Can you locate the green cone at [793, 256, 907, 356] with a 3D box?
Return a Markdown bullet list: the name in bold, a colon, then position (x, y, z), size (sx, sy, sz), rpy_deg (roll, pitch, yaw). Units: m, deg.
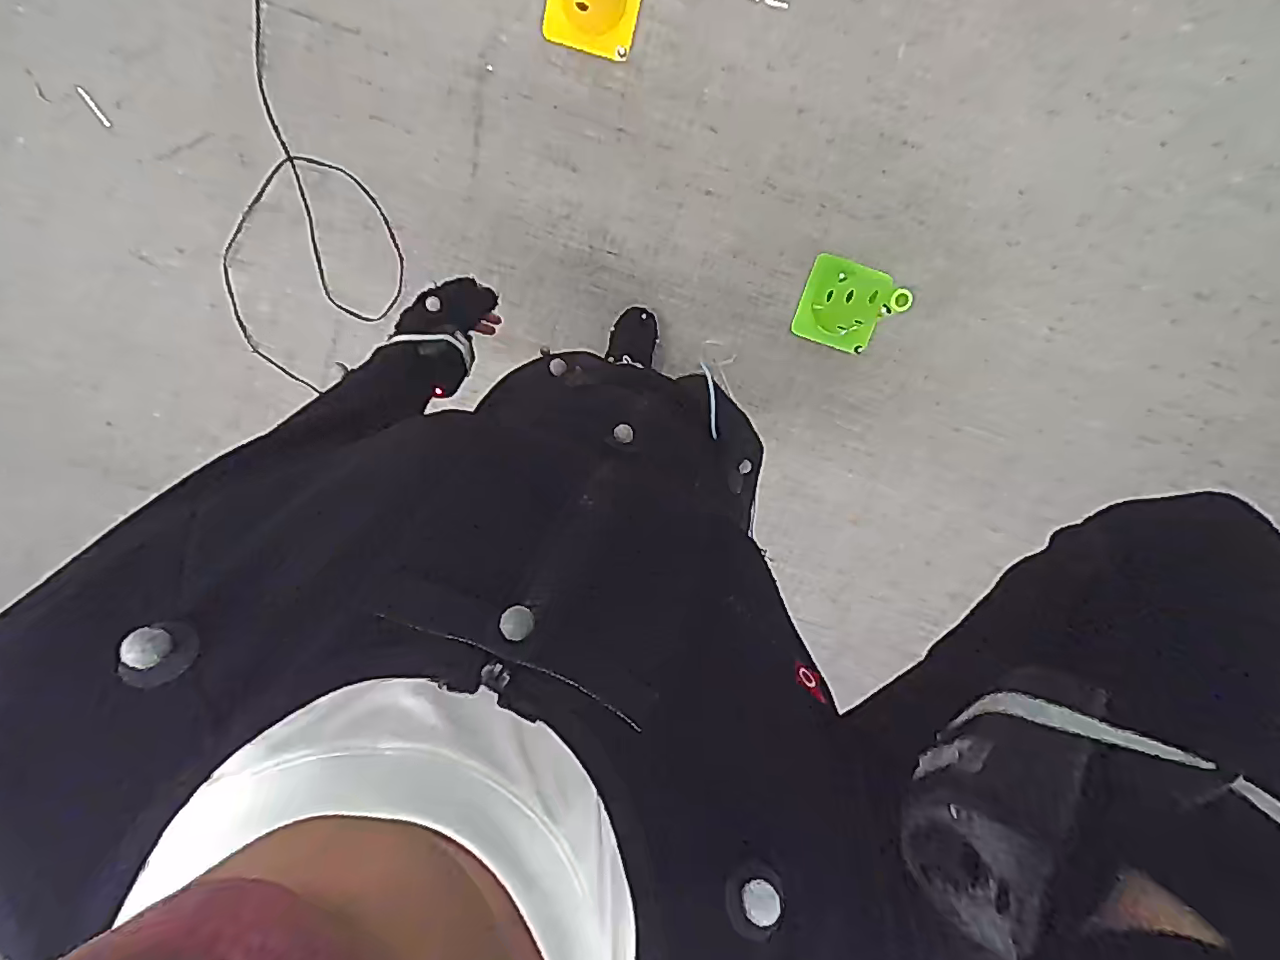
- **green cone**: position (0.491, -0.384, 1.175), size (0.202, 0.368, 0.200), rpy_deg (17, 105, -2)
